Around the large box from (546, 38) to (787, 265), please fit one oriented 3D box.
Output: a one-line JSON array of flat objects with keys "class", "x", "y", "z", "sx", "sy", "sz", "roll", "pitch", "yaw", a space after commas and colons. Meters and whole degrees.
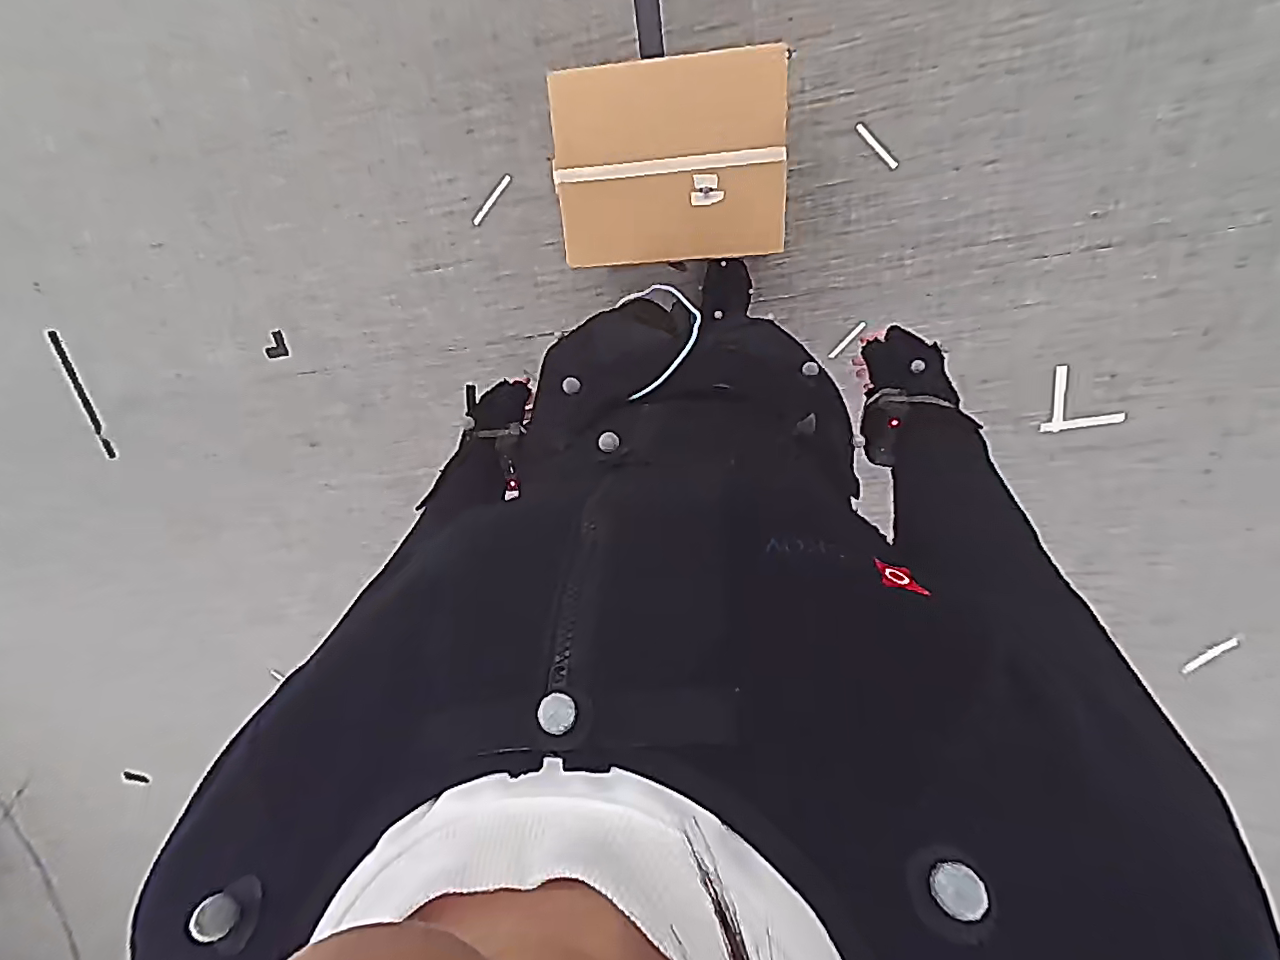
[{"class": "large box", "x": 0.064, "y": -0.611, "z": 1.077, "sx": 0.408, "sy": 0.320, "sz": 0.320, "roll": -1, "pitch": 113, "yaw": 8}]
